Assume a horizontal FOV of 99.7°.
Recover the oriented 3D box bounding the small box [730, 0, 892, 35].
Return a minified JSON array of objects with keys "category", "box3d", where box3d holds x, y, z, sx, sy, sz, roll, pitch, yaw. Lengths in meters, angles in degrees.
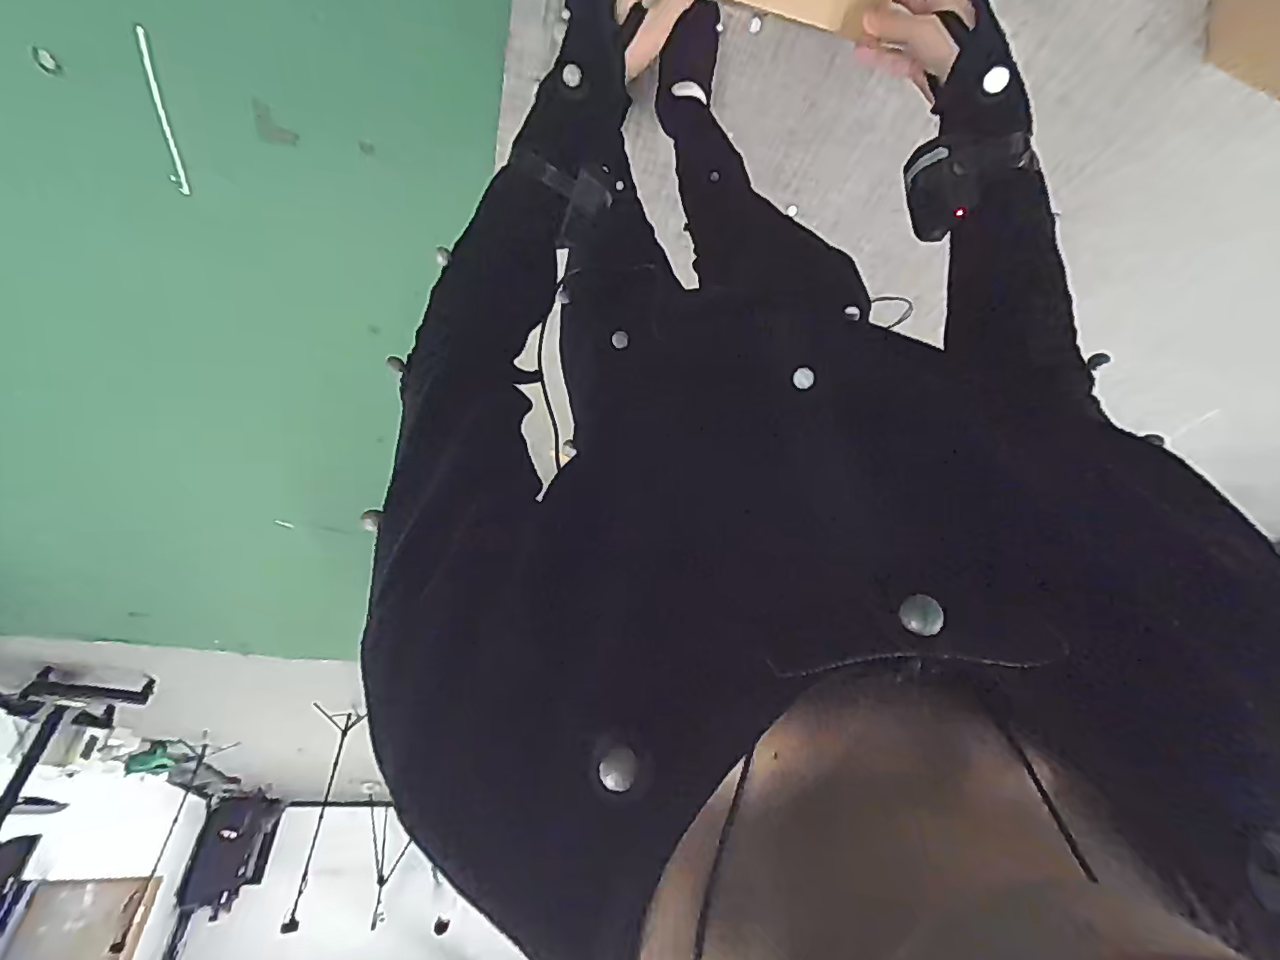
[{"category":"small box","box3d":[0.106,-0.471,0.410,0.179,0.176,0.168,-3,135,-22]}]
